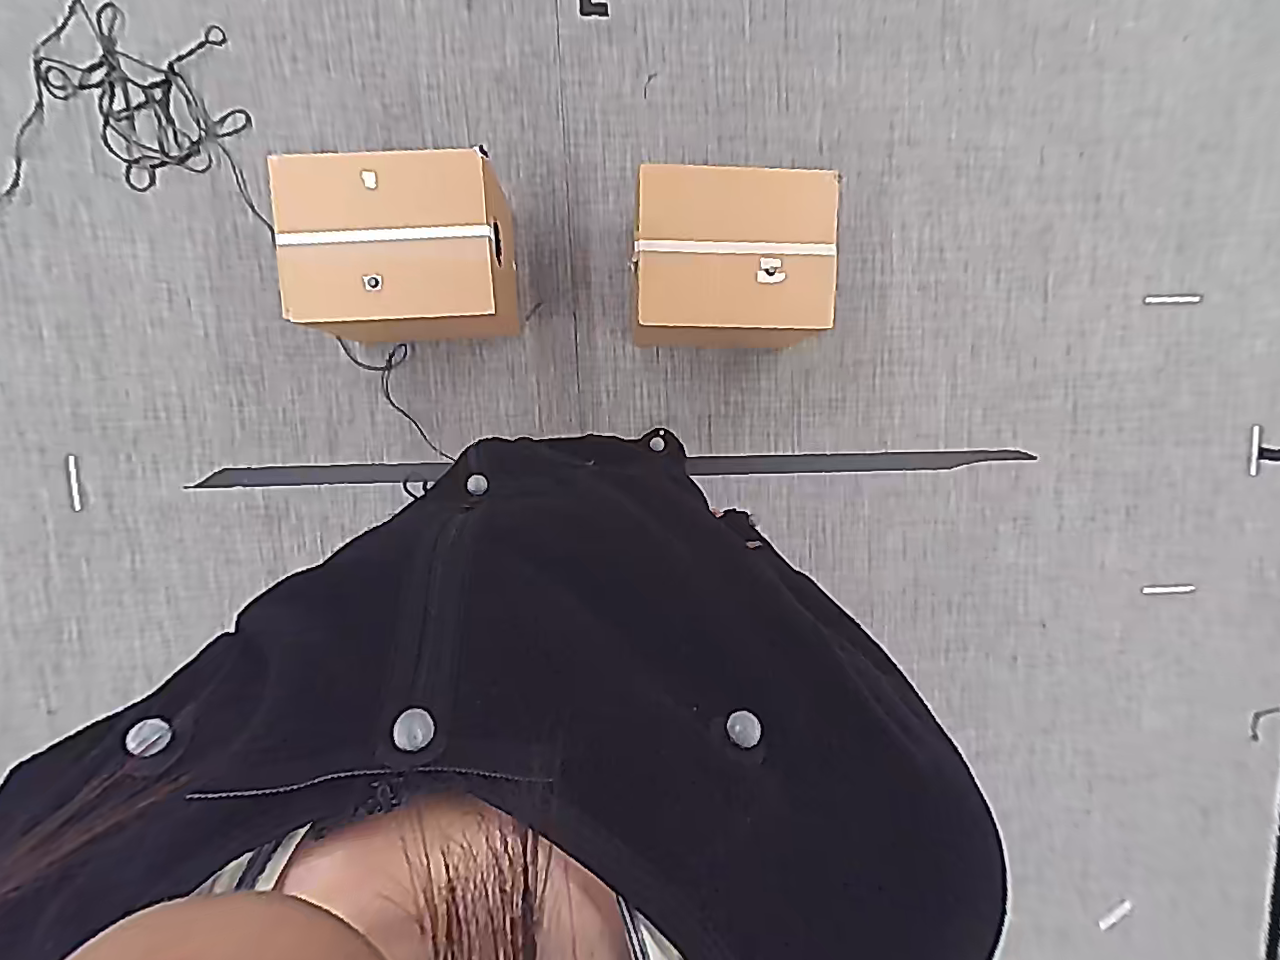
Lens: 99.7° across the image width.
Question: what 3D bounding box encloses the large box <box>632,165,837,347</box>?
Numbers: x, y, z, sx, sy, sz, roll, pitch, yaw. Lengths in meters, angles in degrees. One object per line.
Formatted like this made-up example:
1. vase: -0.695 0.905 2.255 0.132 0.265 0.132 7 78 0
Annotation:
1. large box: 0.190 -0.486 1.245 0.408 0.320 0.320 0 96 -4
